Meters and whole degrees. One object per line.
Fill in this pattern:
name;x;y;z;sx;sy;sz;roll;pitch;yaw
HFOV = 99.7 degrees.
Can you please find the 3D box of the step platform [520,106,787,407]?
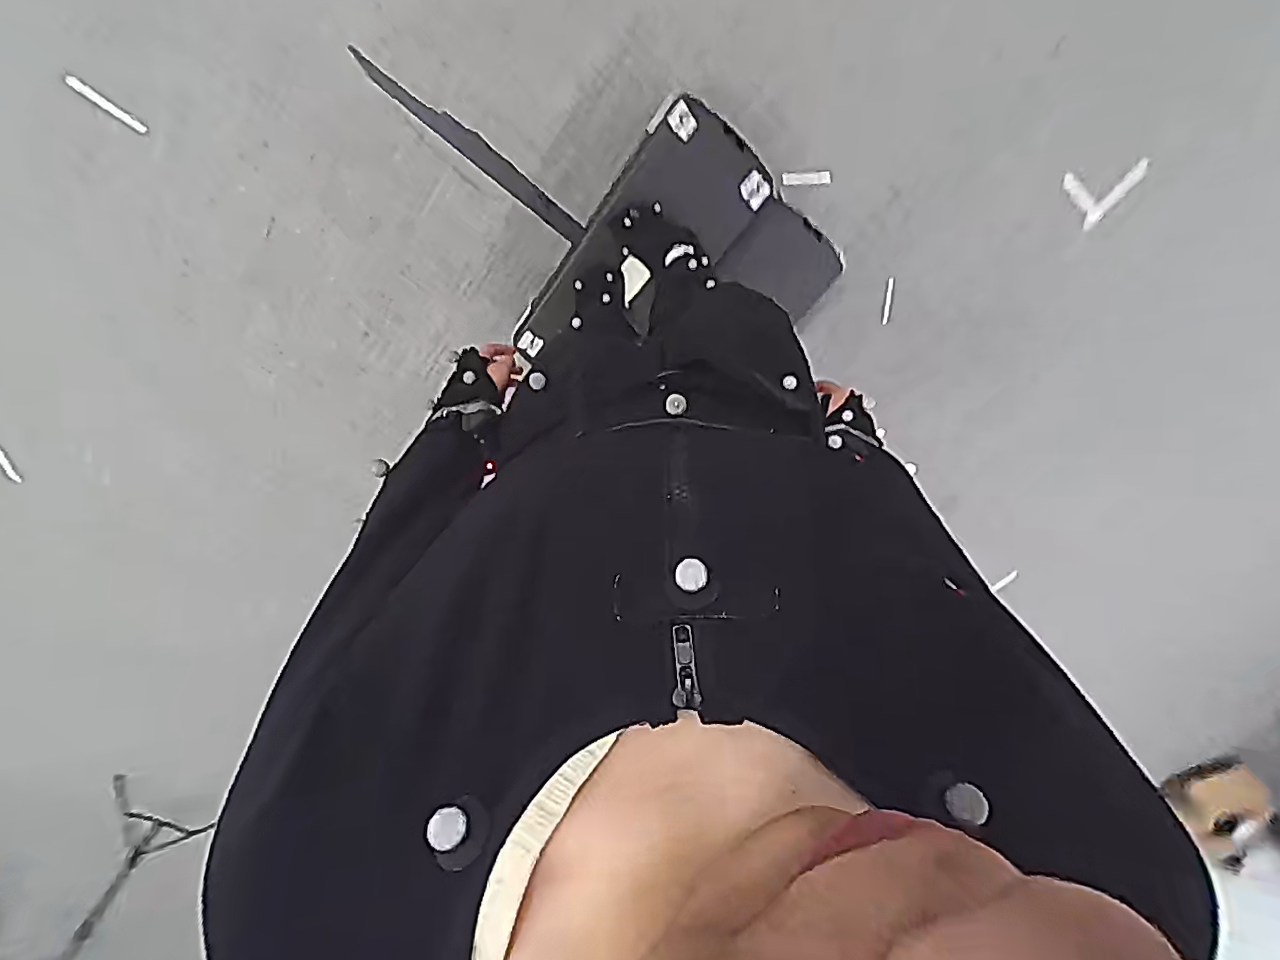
step platform;0.014;-0.504;1.295;0.286;0.204;0.684;37;109;-21
